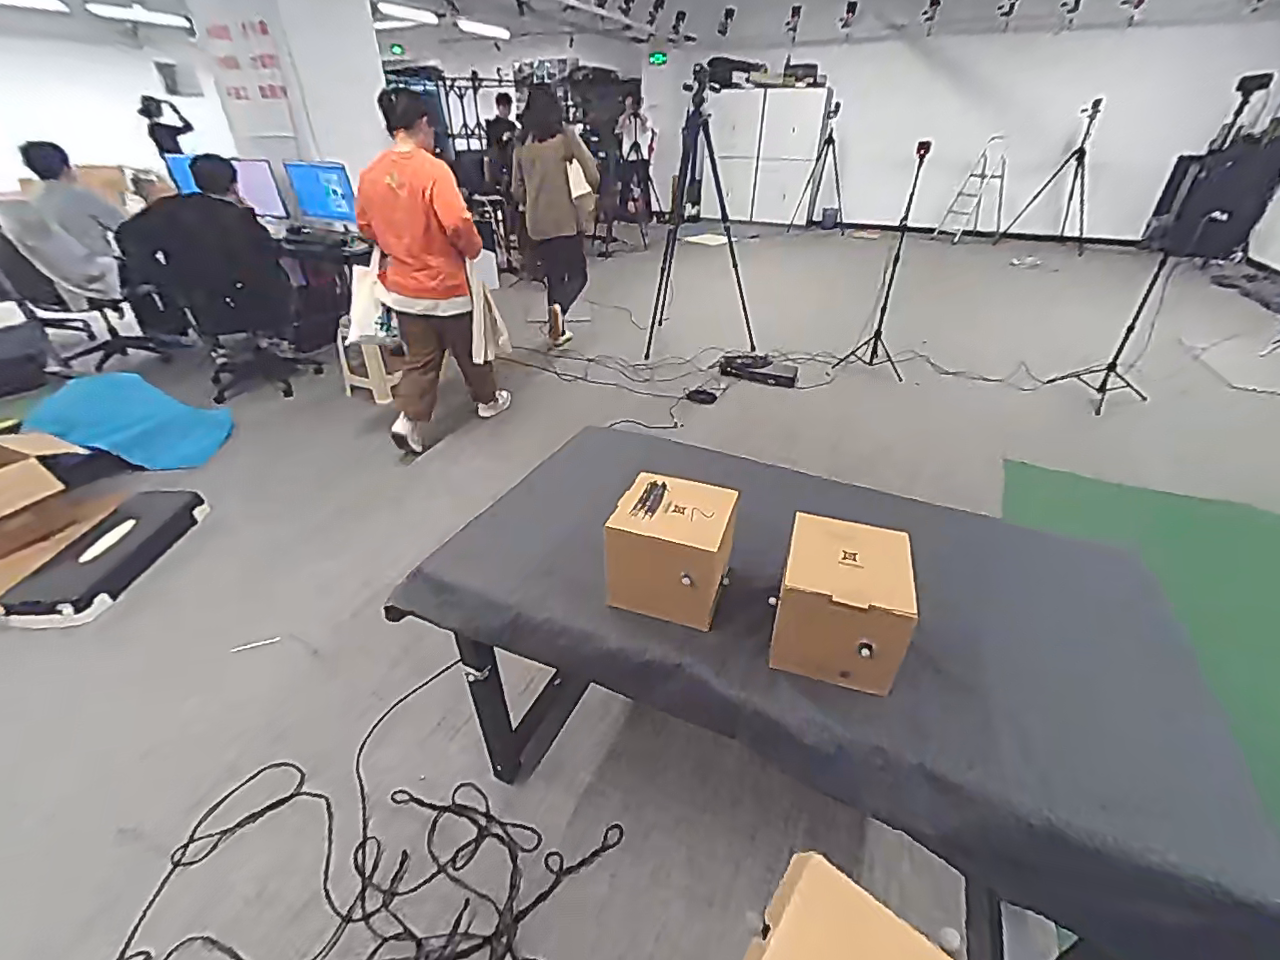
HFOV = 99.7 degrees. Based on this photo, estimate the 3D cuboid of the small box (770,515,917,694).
[{"bbox_3d":[0.293,0.181,0.799,0.168,0.176,0.179,11,33,14],"label":"small box"}]
